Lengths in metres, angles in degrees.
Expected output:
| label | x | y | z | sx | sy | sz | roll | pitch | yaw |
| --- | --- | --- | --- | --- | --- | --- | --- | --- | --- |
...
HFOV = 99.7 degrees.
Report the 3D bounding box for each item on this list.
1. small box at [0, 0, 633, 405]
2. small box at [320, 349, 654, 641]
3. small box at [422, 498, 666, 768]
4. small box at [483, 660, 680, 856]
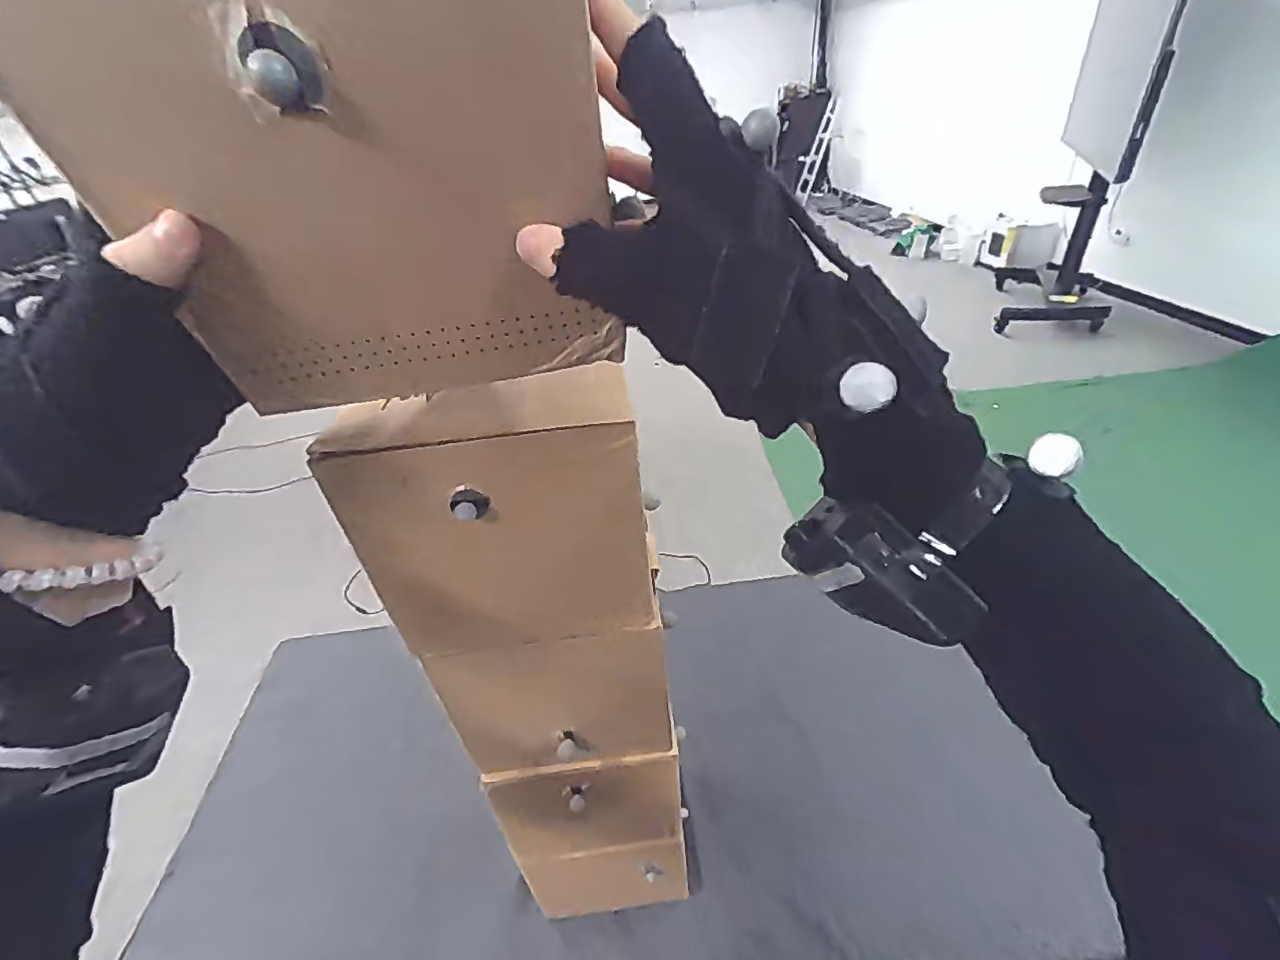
| label | x | y | z | sx | sy | sz | roll | pitch | yaw |
| --- | --- | --- | --- | --- | --- | --- | --- | --- | --- |
| small box | -0.105 | -0.152 | 0.250 | 0.179 | 0.176 | 0.168 | -8 | 49 | 0 |
| small box | -0.089 | 0.000 | 0.403 | 0.179 | 0.176 | 0.168 | -7 | 36 | -2 |
| small box | -0.069 | 0.136 | 0.495 | 0.179 | 0.176 | 0.168 | -6 | 35 | -1 |
| small box | -0.054 | 0.273 | 0.584 | 0.179 | 0.176 | 0.168 | -7 | 35 | -2 |
